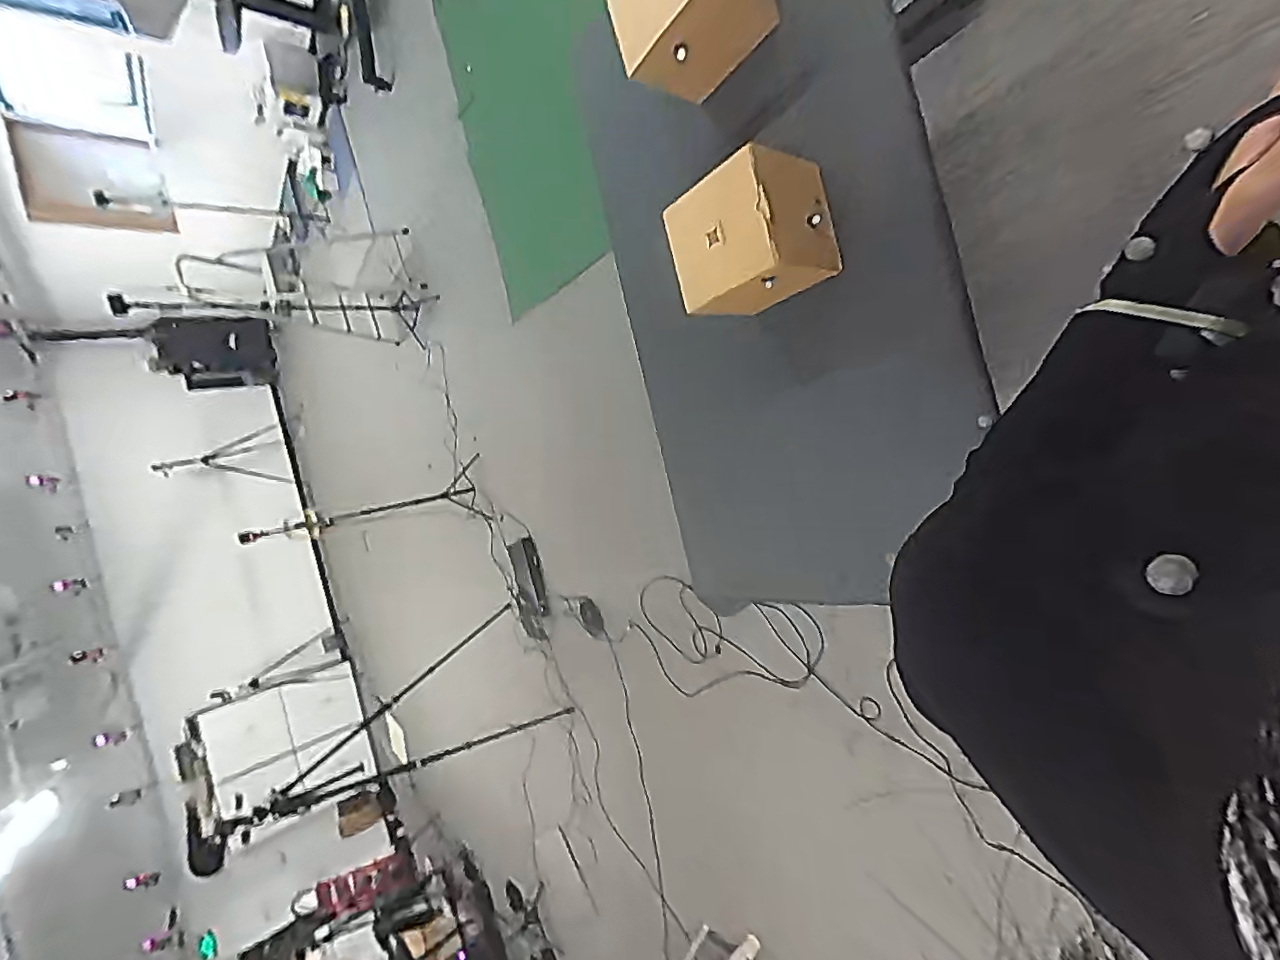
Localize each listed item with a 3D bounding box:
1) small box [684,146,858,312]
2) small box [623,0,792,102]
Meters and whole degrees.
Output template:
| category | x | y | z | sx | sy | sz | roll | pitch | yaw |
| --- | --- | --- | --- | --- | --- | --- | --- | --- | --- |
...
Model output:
| category | x | y | z | sx | sy | sz | roll | pitch | yaw |
| --- | --- | --- | --- | --- | --- | --- | --- | --- | --- |
| small box | 0.201 | -0.368 | 0.835 | 0.179 | 0.176 | 0.168 | -16 | 88 | 52 |
| small box | 0.101 | -0.733 | 0.838 | 0.179 | 0.176 | 0.168 | -18 | 88 | 52 |
